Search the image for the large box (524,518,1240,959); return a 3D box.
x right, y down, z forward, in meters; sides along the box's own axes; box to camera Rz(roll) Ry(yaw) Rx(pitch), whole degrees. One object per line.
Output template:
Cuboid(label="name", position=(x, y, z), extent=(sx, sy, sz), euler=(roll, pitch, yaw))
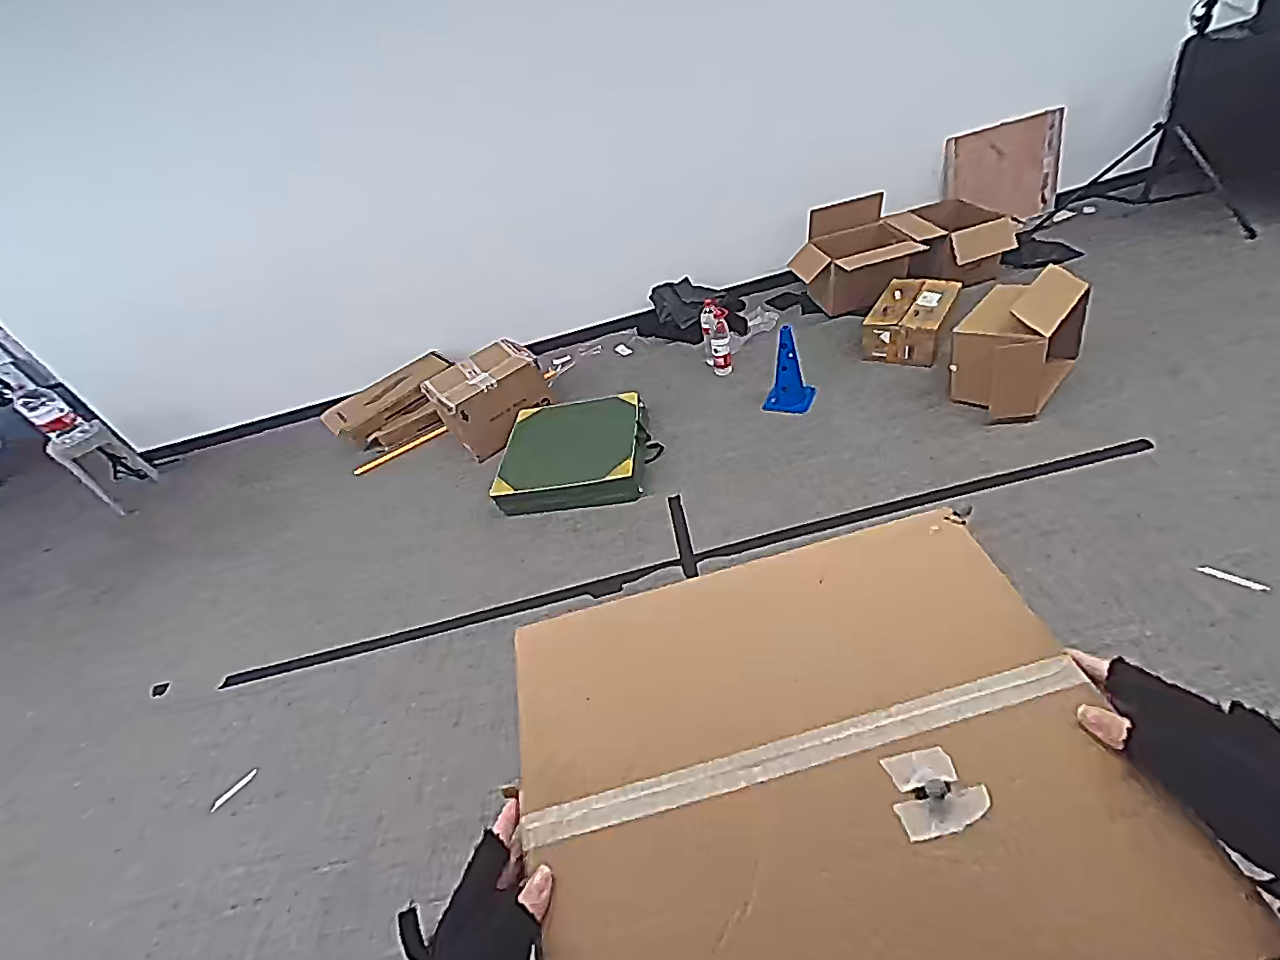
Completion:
Cuboid(label="large box", position=(0.140, 0.294, 0.506), extent=(0.408, 0.320, 0.320), euler=(-16, 49, -2))
